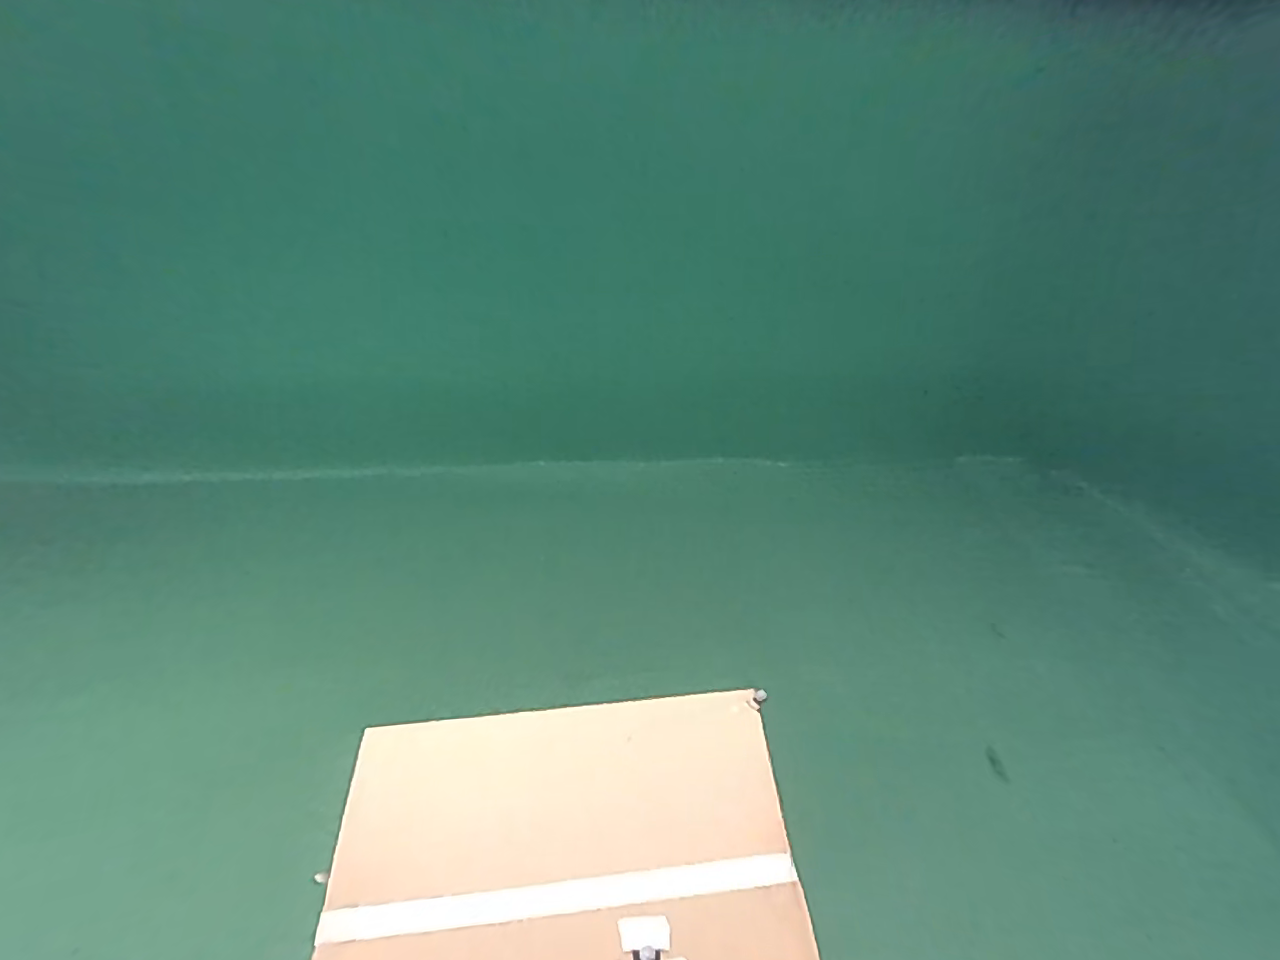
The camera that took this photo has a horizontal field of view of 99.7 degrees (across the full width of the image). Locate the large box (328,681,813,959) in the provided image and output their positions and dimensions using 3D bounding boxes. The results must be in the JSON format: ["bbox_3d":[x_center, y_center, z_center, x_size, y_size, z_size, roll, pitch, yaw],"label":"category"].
[{"bbox_3d":[-0.064,0.448,0.591,0.408,0.320,0.320,-4,51,-4],"label":"large box"}]
